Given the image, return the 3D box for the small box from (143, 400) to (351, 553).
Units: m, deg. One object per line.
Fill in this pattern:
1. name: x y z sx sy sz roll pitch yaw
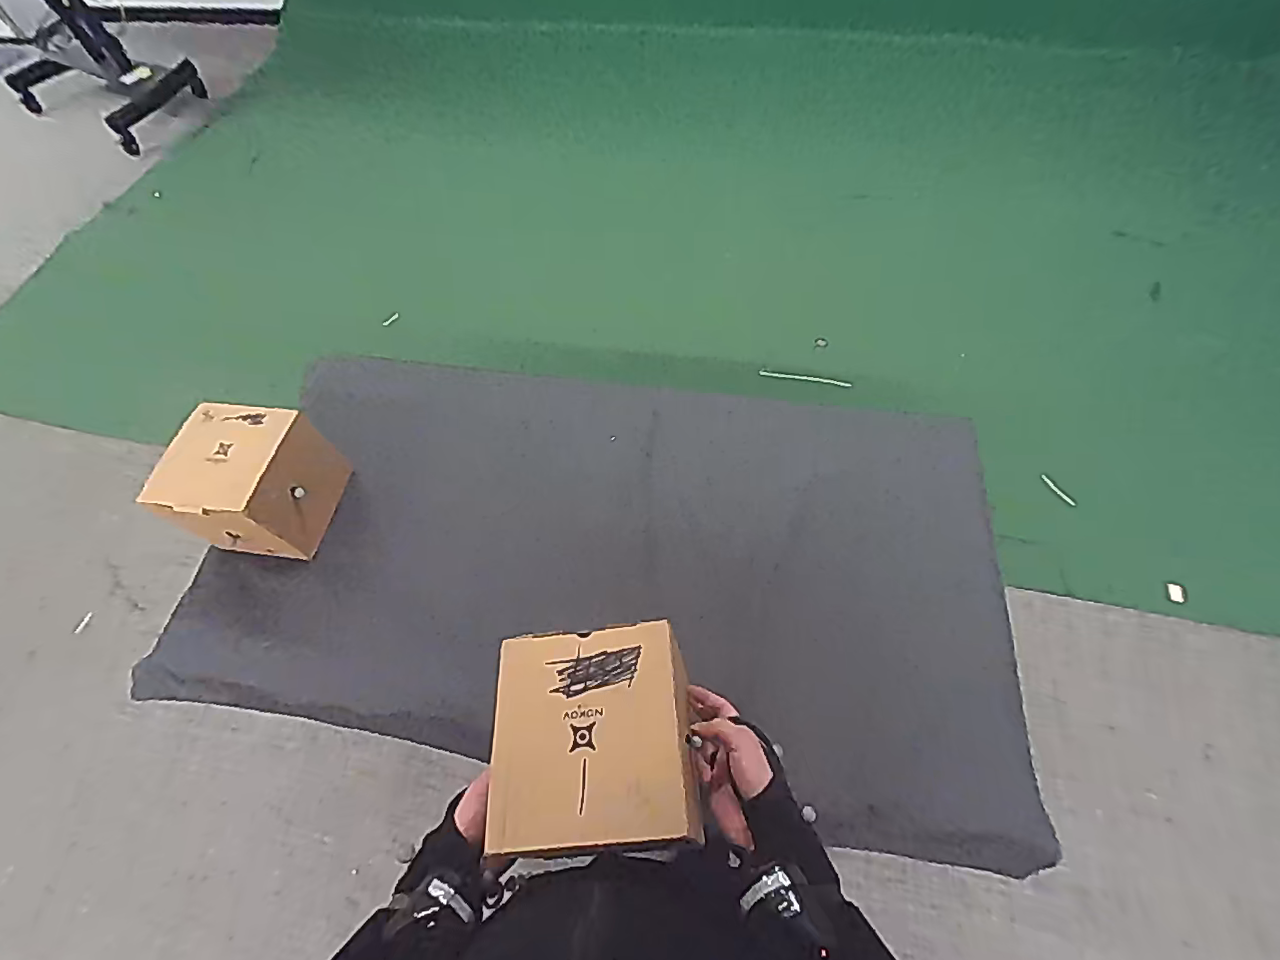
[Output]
1. small box: -0.590 0.000 0.844 0.168 0.176 0.179 7 62 5
